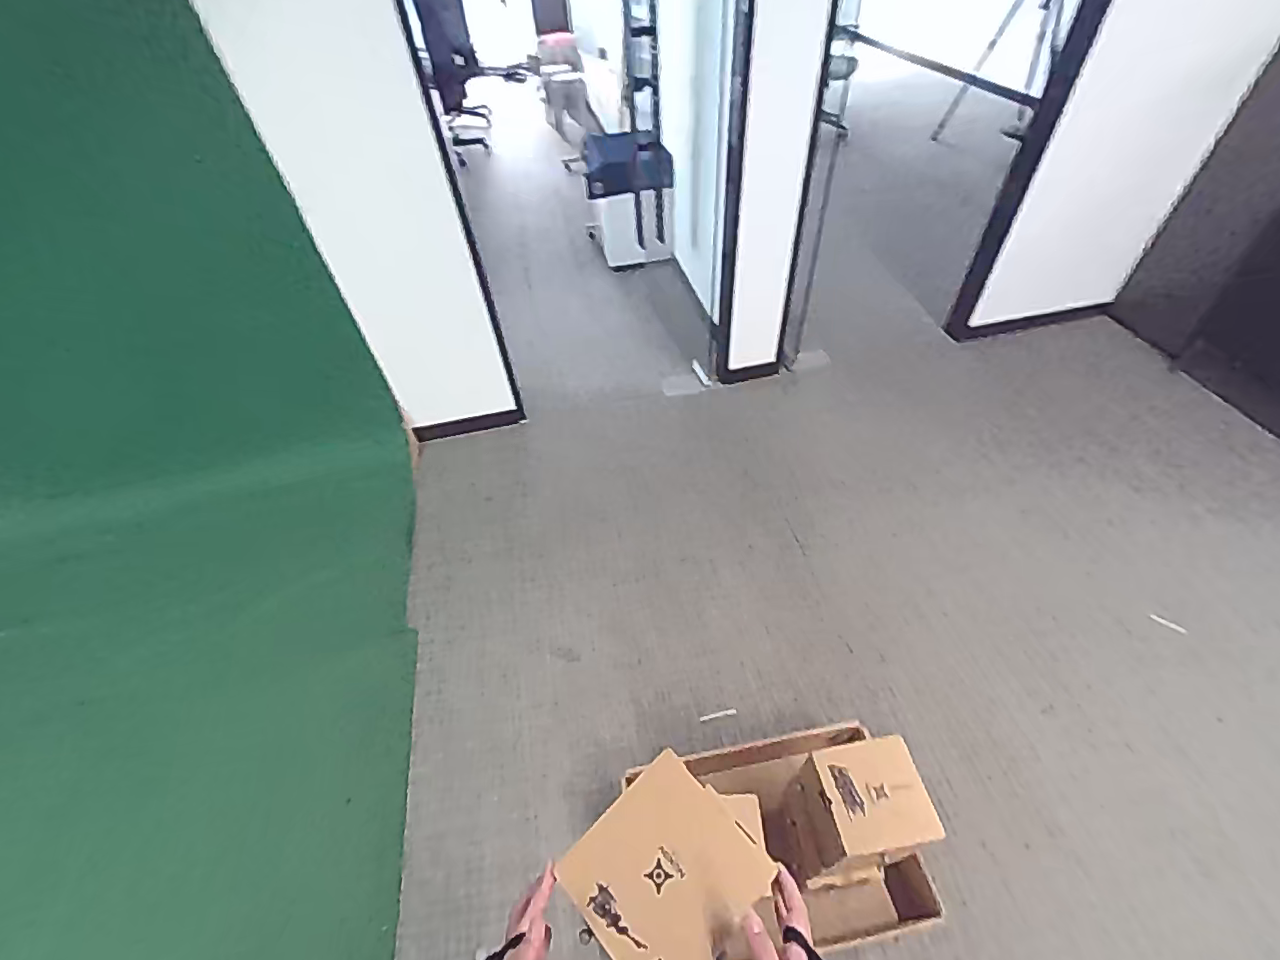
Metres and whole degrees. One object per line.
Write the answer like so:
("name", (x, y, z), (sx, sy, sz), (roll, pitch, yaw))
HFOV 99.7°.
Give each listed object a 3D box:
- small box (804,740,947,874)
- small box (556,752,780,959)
("small box", (0.412, 0.599, 0.988), (0.179, 0.176, 0.168), (-9, 48, -3))
("small box", (0.028, 0.457, 0.613), (0.179, 0.176, 0.168), (-35, 55, -28))
